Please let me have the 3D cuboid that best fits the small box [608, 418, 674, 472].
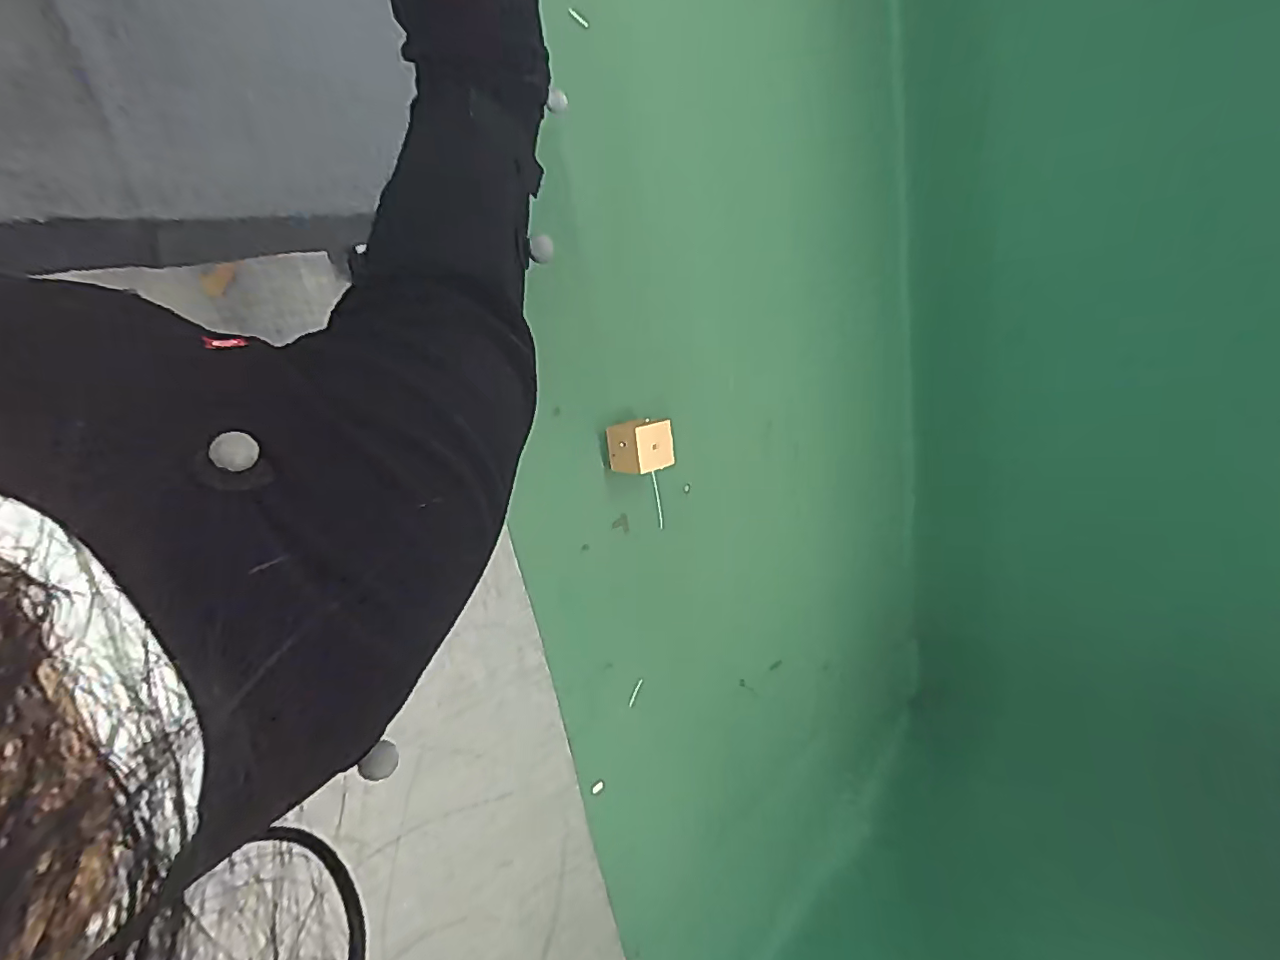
[{"bbox_3d":[-0.003,-0.129,1.966,0.179,0.176,0.168,-19,107,-41],"label":"small box"}]
